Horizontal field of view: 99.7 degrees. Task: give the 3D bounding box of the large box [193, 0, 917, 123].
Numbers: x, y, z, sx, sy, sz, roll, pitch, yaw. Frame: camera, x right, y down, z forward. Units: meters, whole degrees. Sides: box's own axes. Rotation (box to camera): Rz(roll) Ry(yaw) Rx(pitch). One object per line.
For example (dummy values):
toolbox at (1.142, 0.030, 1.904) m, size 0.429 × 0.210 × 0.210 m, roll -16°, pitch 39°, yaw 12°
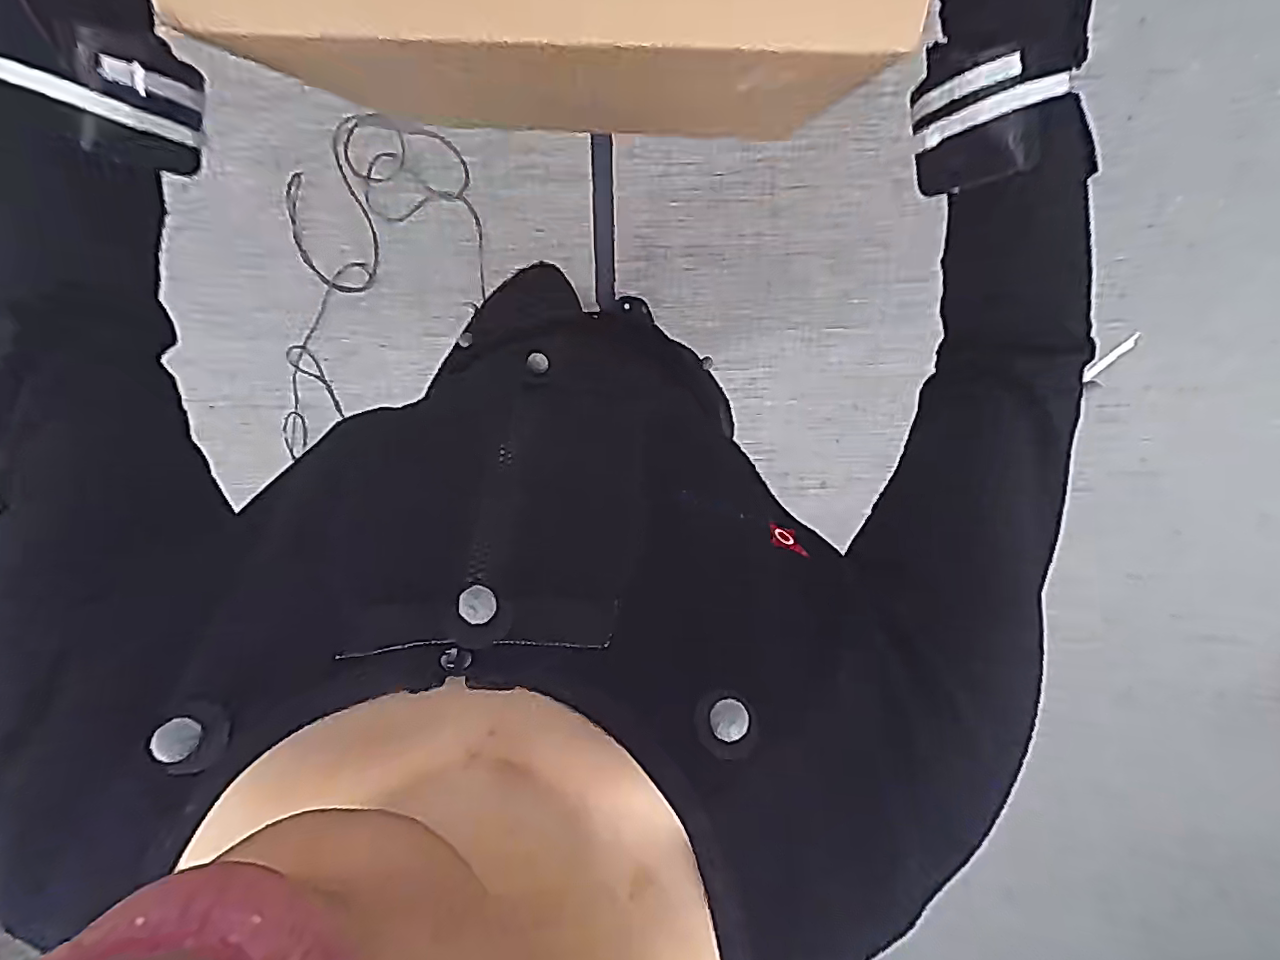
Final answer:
large box at (-0.045, -0.452, 0.368) m, size 0.408 × 0.320 × 0.320 m, roll 2°, pitch 116°, yaw 0°
